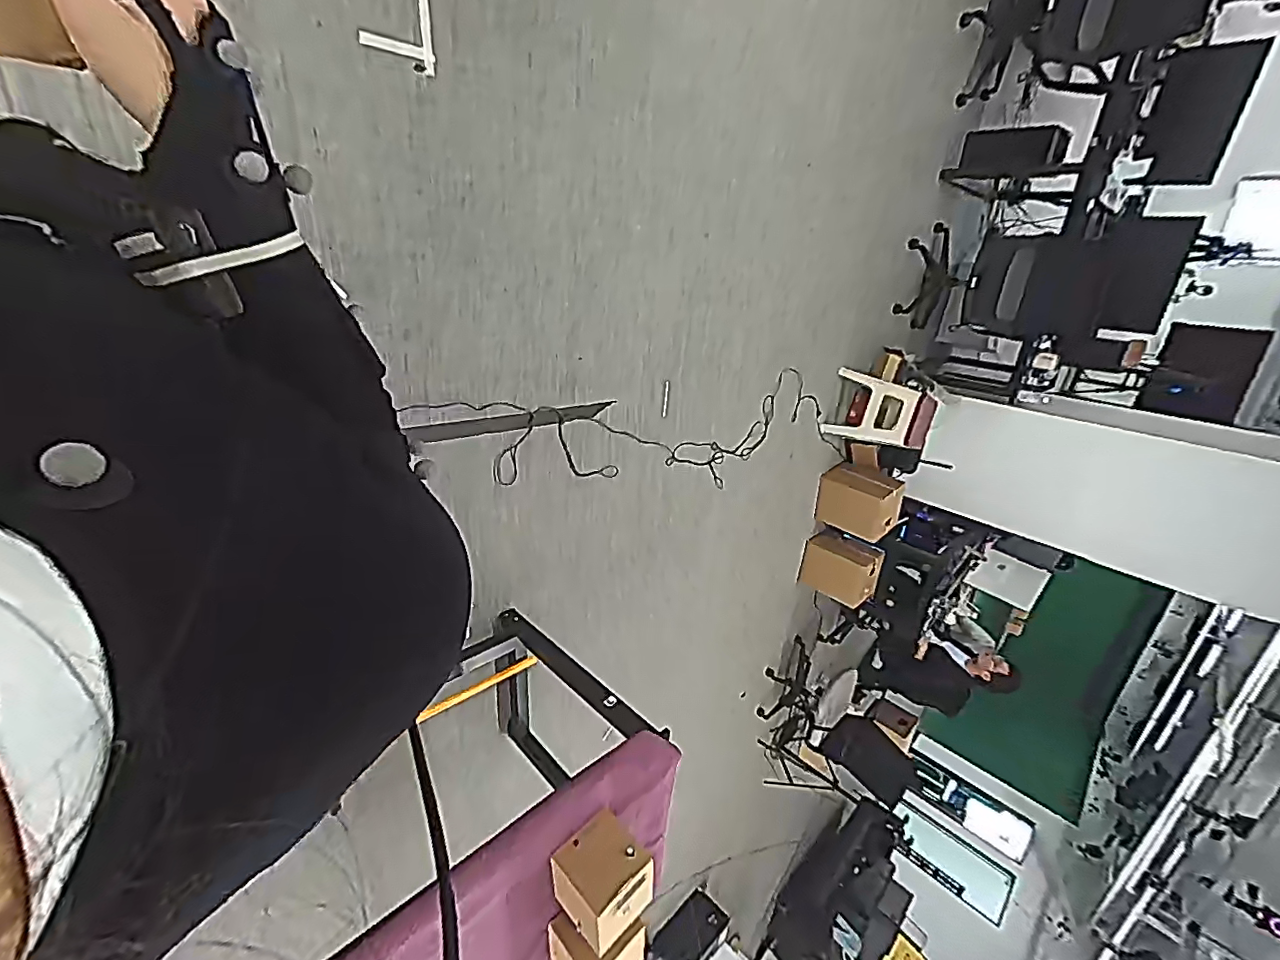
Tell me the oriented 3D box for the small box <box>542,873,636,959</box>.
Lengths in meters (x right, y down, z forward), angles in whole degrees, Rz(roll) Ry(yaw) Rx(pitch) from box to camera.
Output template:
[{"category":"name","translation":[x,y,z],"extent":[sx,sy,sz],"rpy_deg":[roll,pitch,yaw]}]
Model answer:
[{"category":"small box","translation":[-0.132,1.146,1.343],"extent":[0.179,0.176,0.168],"rpy_deg":[-21,124,-41]}]
